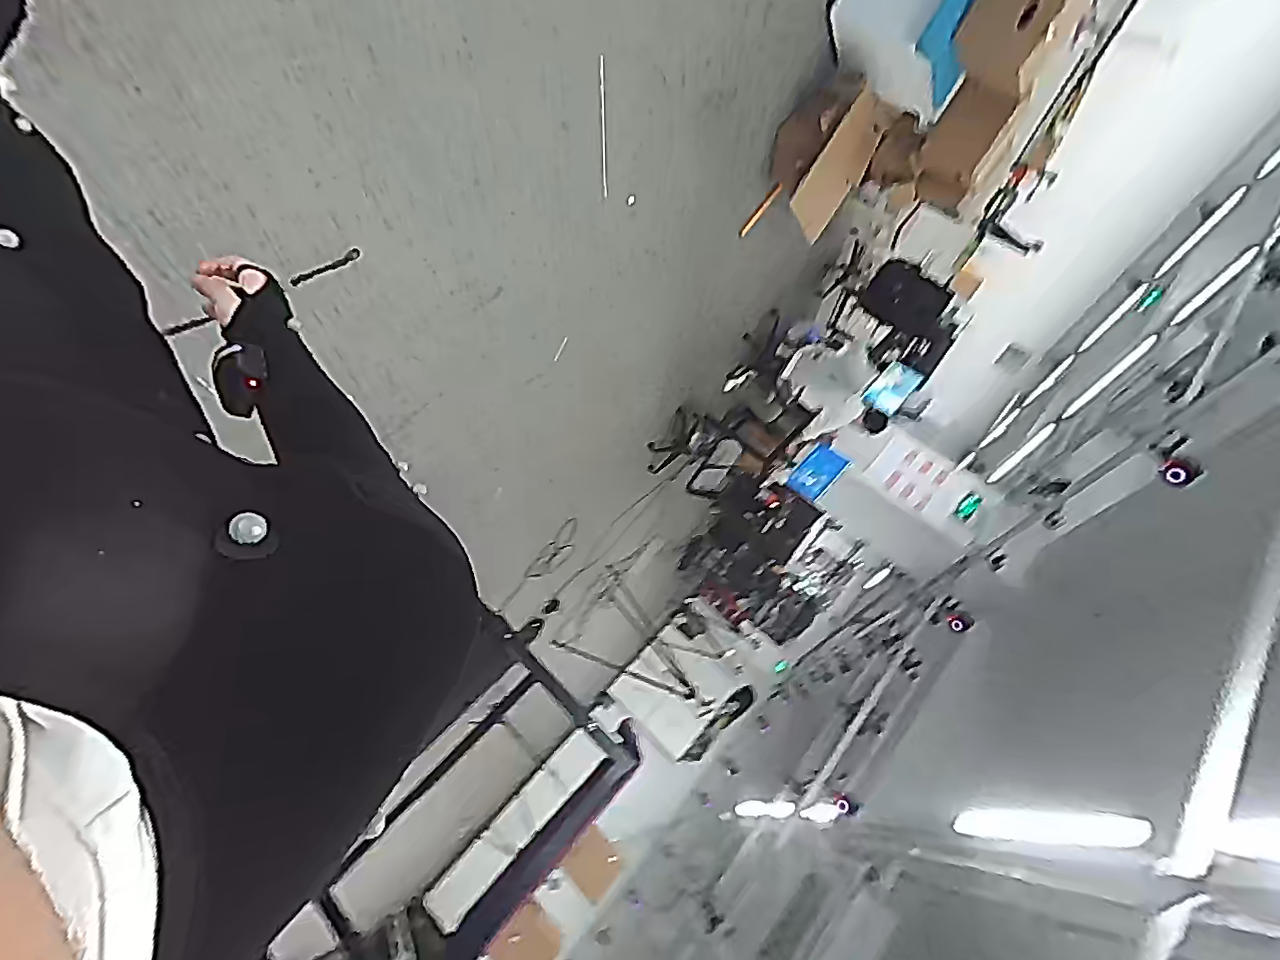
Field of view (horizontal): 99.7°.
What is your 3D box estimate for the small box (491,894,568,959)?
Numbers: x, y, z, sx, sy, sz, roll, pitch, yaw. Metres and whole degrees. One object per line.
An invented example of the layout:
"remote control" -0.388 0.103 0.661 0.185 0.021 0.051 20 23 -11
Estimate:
"small box" -0.353 1.473 1.718 0.179 0.176 0.168 -42 161 -23
